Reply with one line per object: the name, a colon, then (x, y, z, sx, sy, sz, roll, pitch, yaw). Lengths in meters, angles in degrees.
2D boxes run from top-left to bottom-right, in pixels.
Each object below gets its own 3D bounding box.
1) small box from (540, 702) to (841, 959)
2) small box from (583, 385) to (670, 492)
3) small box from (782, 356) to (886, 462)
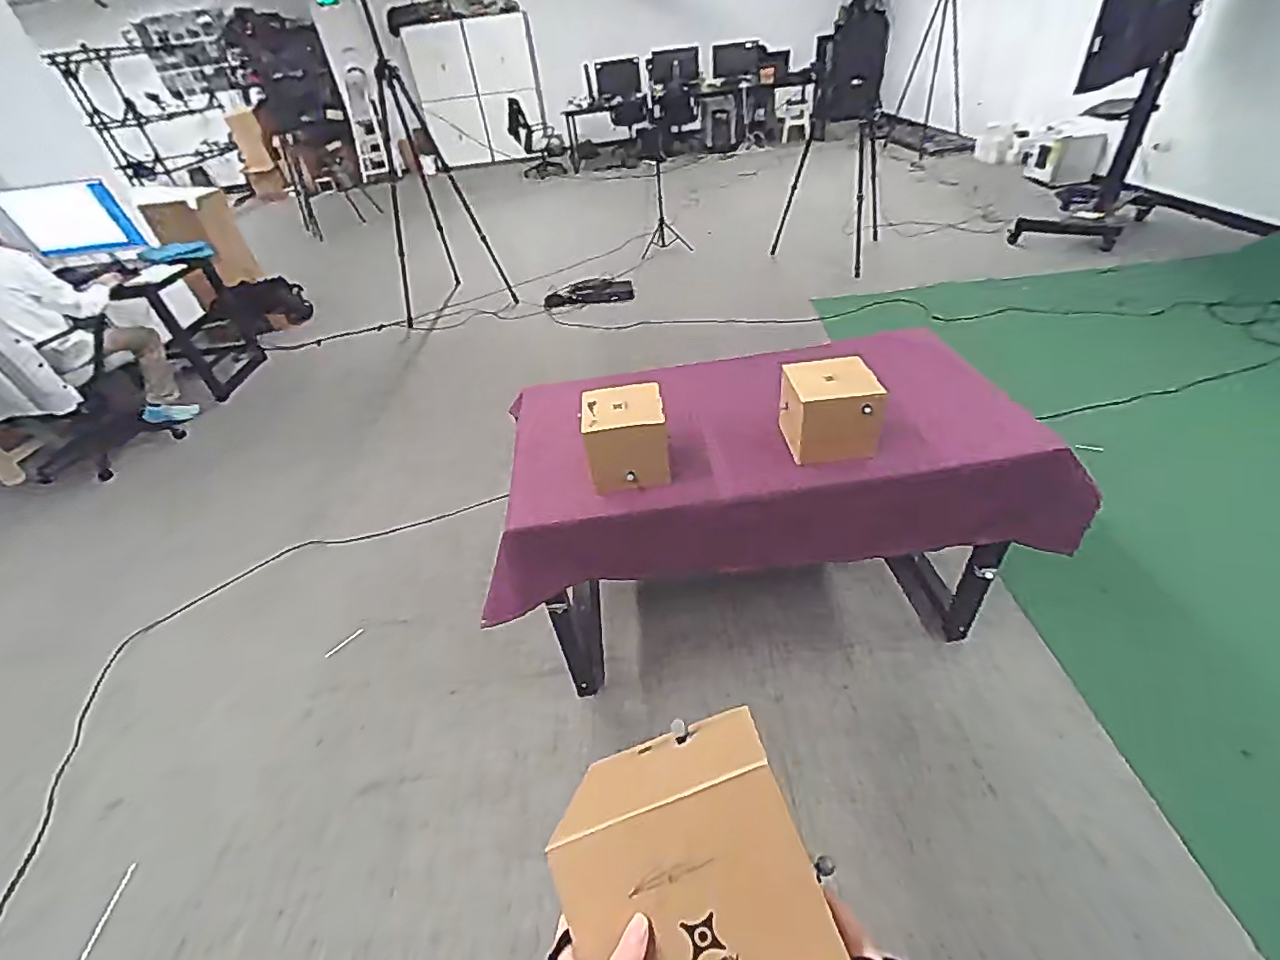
small box: (0.045, 0.306, 0.430, 0.168, 0.176, 0.179, -22, 79, 2)
small box: (-0.027, -0.092, 1.209, 0.179, 0.176, 0.168, -7, 39, 1)
small box: (0.421, -0.155, 1.205, 0.179, 0.176, 0.168, -6, 39, 2)
